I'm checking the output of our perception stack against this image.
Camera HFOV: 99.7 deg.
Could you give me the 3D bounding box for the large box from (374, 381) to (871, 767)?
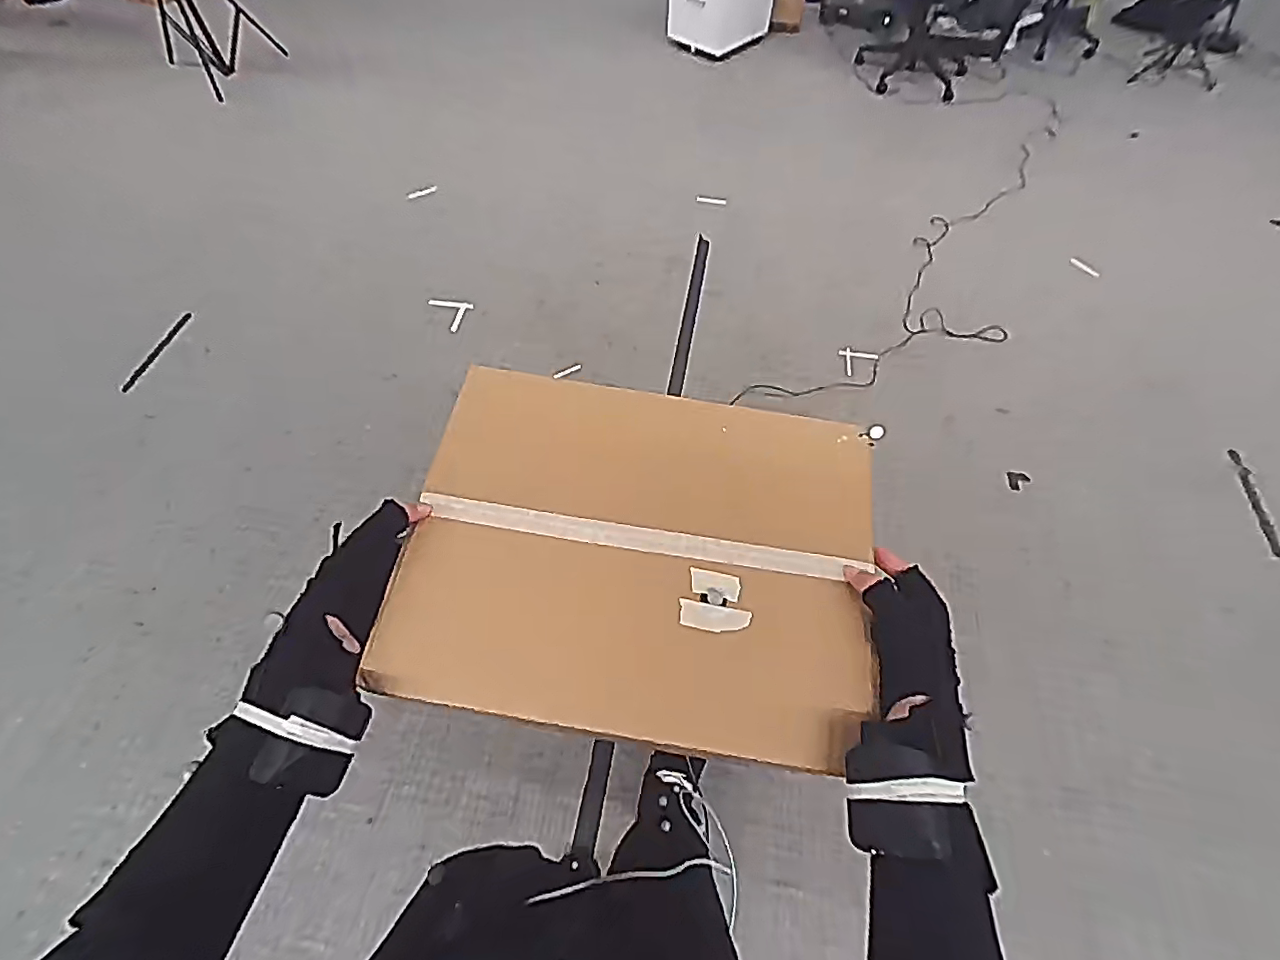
[{"bbox_3d":[-0.005,0.125,0.620,0.408,0.320,0.320,9,64,1],"label":"large box"}]
